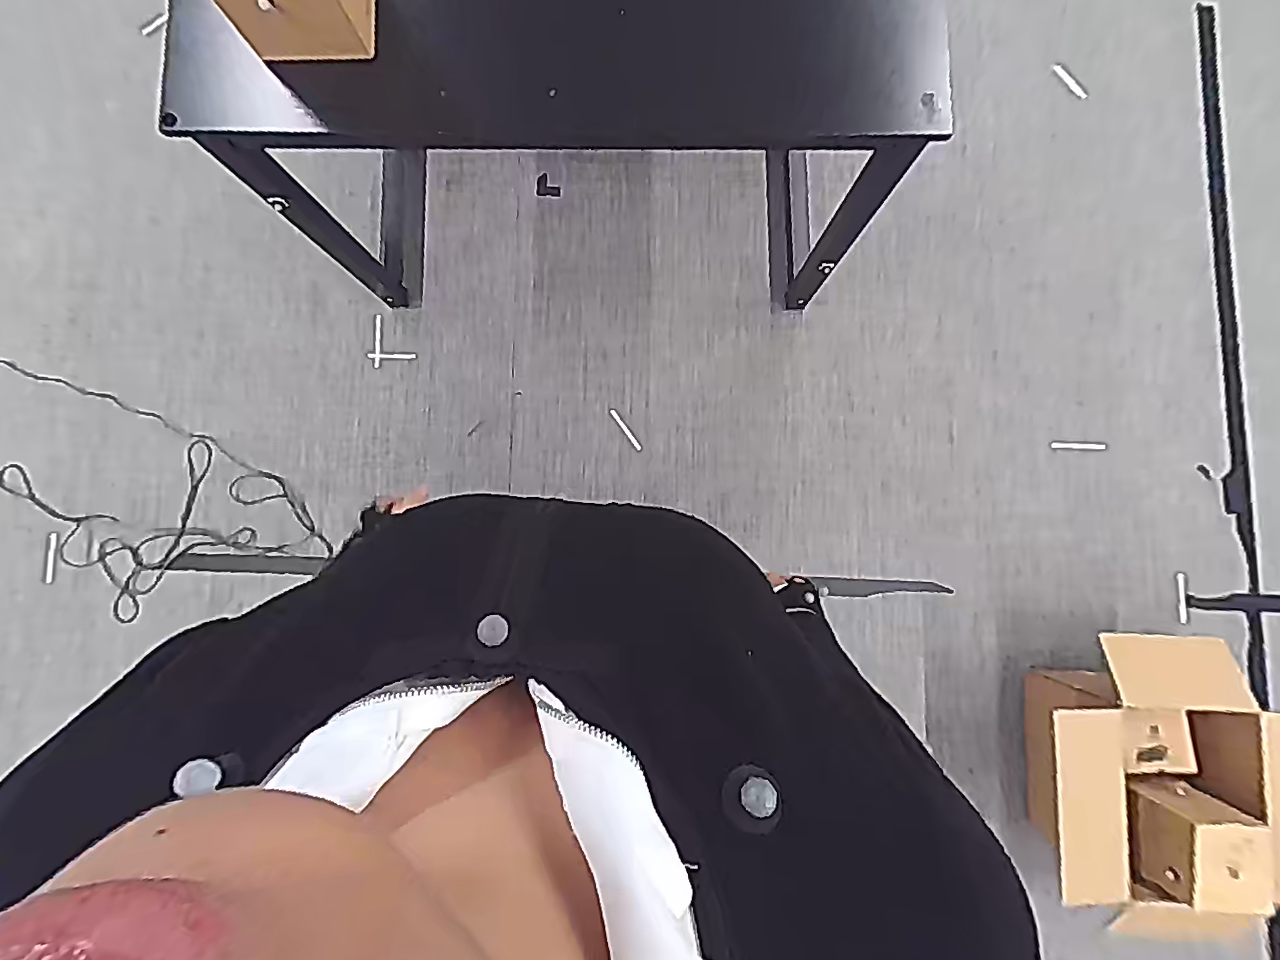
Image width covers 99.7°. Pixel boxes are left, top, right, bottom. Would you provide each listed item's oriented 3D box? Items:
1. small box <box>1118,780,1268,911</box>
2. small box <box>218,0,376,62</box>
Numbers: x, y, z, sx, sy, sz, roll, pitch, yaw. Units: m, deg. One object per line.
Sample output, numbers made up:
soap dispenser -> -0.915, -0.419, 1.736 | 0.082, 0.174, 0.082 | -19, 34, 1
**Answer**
small box -> 1.201, 0.794, 1.187 | 0.168, 0.176, 0.179 | 3, 86, -1
small box -> -0.499, -0.729, 0.760 | 0.179, 0.176, 0.168 | -2, 85, 0
